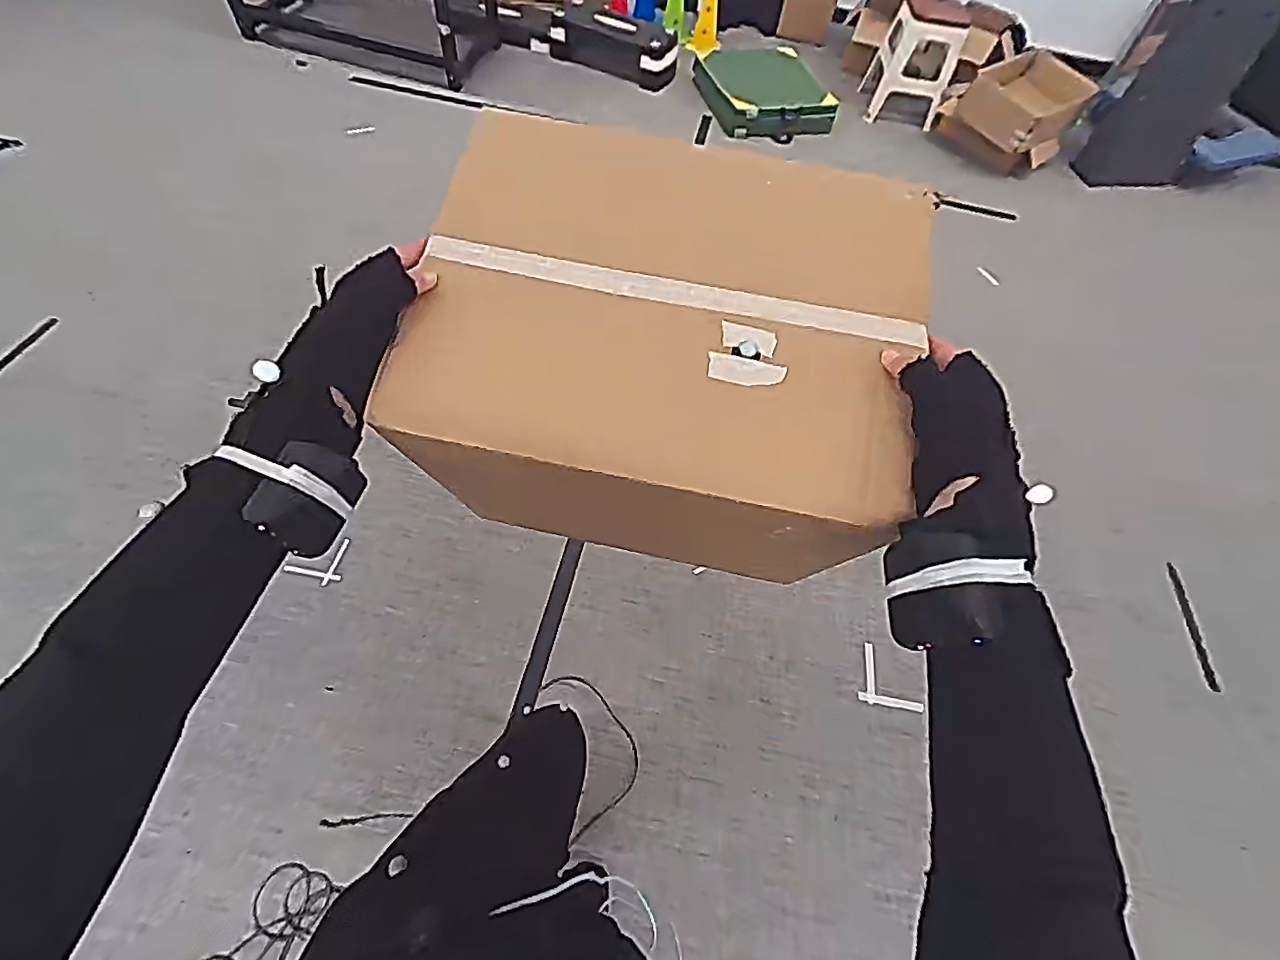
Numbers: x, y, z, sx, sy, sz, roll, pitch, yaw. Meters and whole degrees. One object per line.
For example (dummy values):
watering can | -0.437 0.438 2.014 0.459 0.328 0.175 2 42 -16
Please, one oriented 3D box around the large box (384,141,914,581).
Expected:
large box | 0.020 -0.094 0.592 0.408 0.320 0.320 12 73 2
